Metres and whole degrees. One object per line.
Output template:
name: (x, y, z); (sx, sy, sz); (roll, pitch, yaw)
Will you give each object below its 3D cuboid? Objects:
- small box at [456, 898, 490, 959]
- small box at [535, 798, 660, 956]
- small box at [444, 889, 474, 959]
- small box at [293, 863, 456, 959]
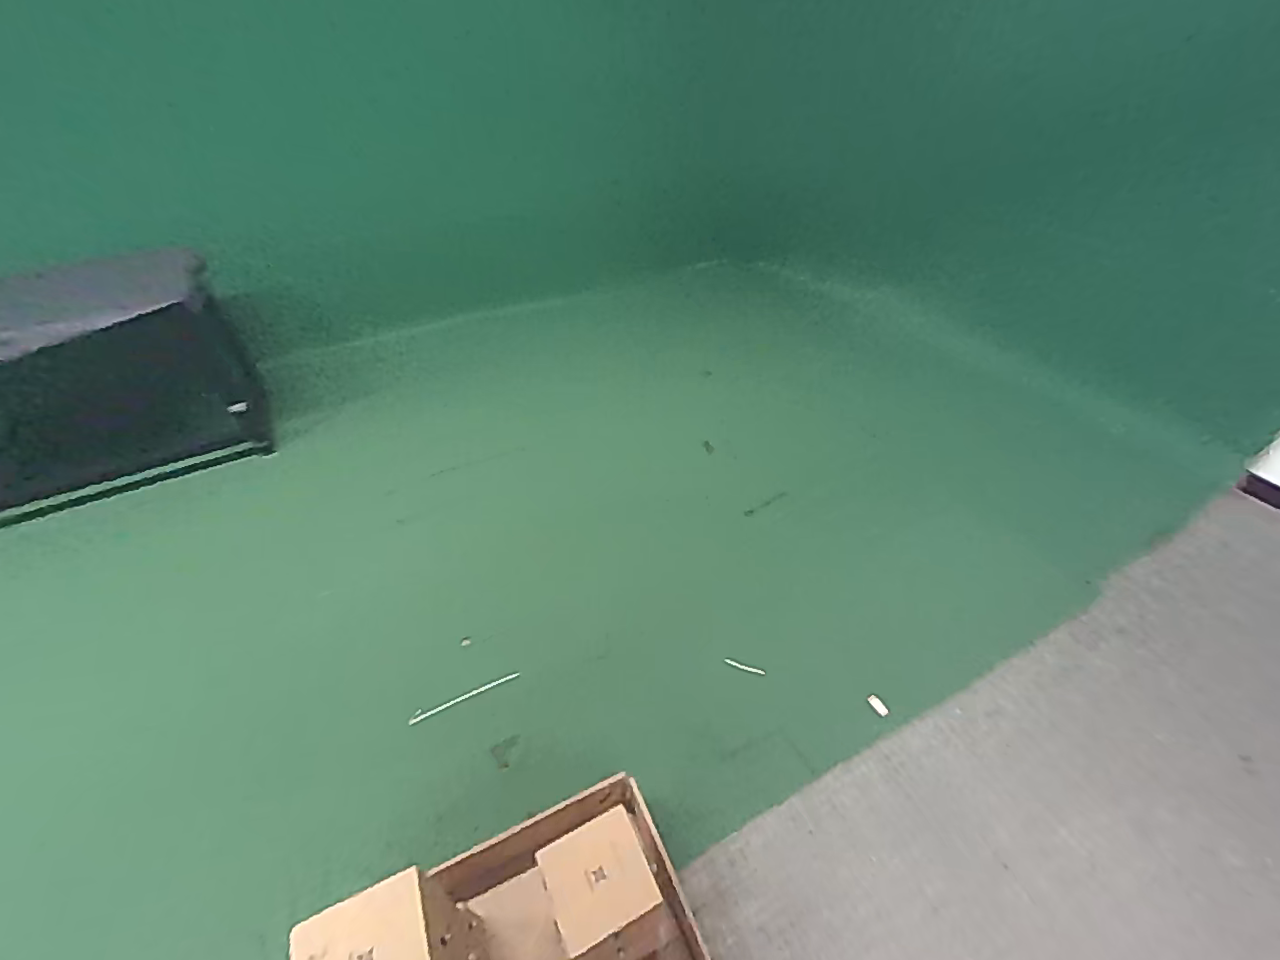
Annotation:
small box: (-0.379, 0.940, 1.021); (0.168, 0.176, 0.179); (-19, 47, -18)
small box: (-0.072, 0.730, 0.992); (0.179, 0.176, 0.168); (-21, 49, -18)
small box: (-0.382, 0.829, 0.900); (0.179, 0.176, 0.168); (-18, 46, -18)
small box: (-0.375, 0.706, 0.789); (0.179, 0.176, 0.168); (-19, 46, -18)
